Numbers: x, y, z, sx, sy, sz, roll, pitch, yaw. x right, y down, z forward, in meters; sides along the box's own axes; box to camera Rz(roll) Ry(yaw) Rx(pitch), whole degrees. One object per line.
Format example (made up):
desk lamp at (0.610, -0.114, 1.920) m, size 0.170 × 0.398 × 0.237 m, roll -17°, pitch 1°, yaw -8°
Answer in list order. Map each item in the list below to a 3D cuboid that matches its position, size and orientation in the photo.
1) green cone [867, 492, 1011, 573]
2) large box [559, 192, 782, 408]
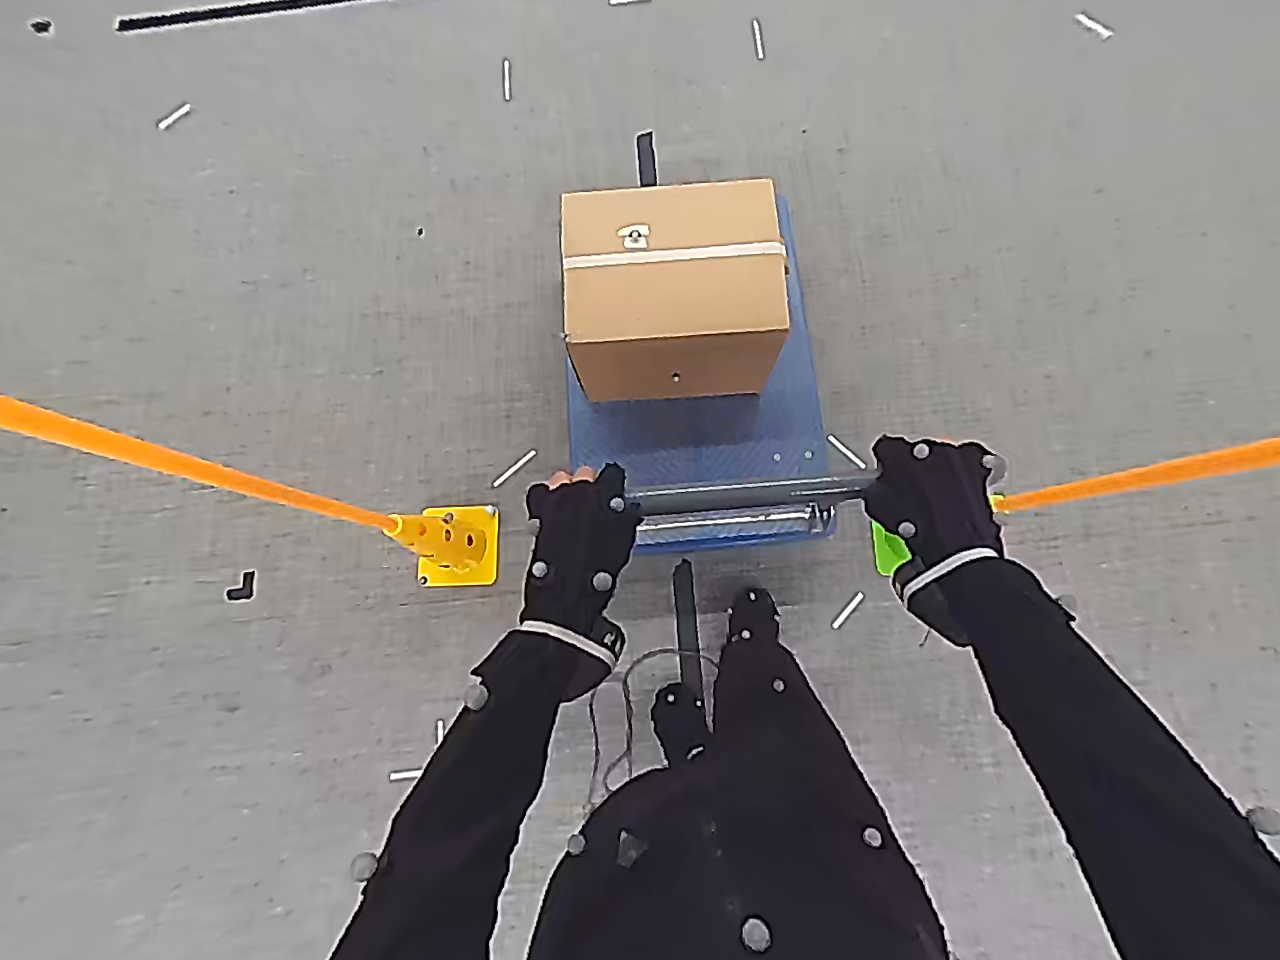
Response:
green cone at (0.662, 0.090, 1.165) m, size 0.202 × 0.368 × 0.200 m, roll -2°, pitch 77°, yaw 2°
large box at (0.060, -0.358, 1.157) m, size 0.408 × 0.320 × 0.320 m, roll -4°, pitch 78°, yaw 3°
